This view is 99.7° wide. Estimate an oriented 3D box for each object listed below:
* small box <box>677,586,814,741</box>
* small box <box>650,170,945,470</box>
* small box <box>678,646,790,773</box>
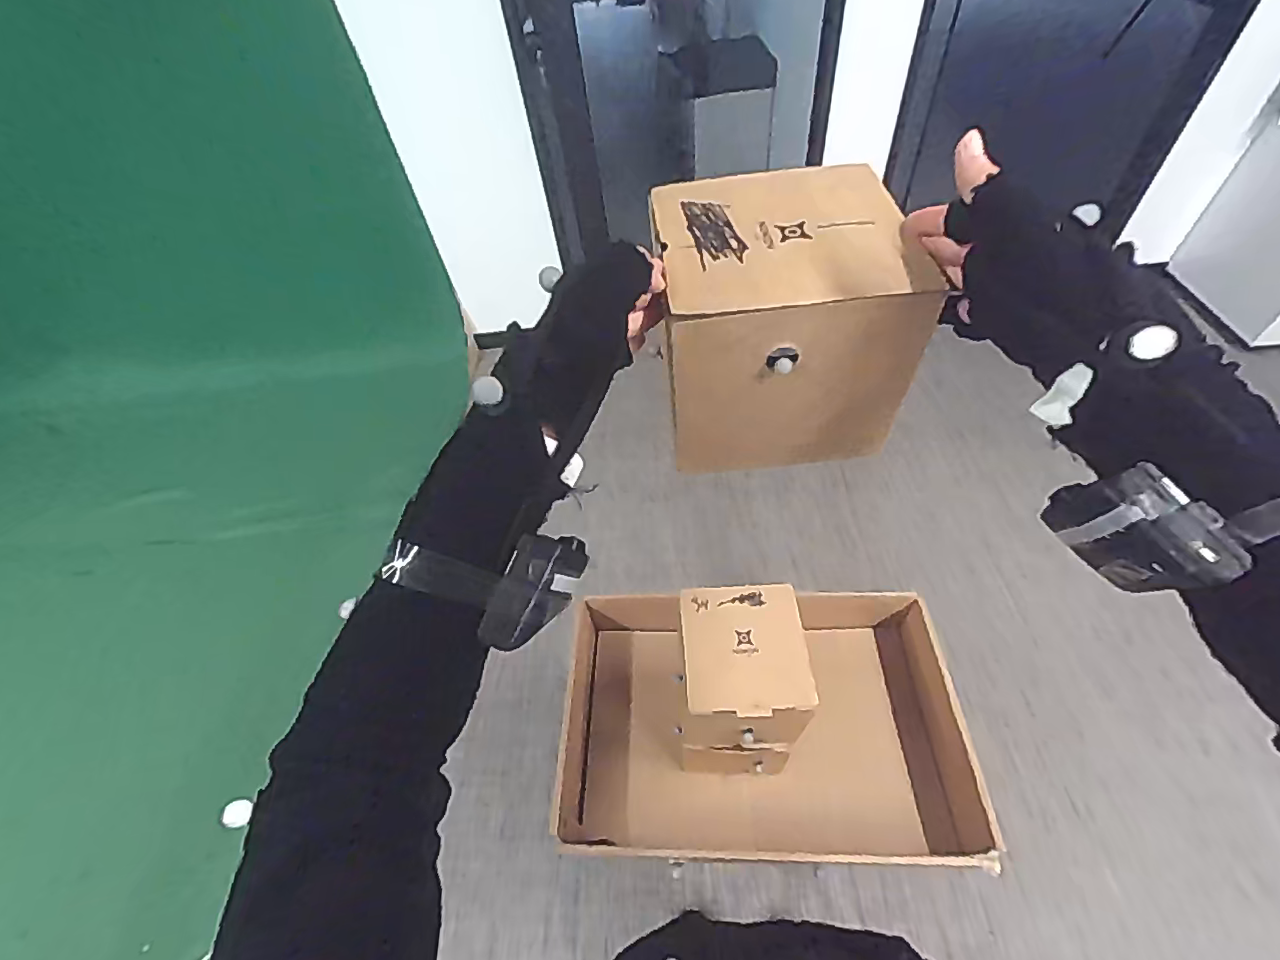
[{"bbox_3d":[0.141,0.273,0.790,0.168,0.176,0.179,-3,52,2],"label":"small box"},{"bbox_3d":[0.106,-0.122,0.445,0.179,0.176,0.168,-6,54,2],"label":"small box"},{"bbox_3d":[0.148,0.383,0.912,0.168,0.176,0.179,-1,49,3],"label":"small box"}]
